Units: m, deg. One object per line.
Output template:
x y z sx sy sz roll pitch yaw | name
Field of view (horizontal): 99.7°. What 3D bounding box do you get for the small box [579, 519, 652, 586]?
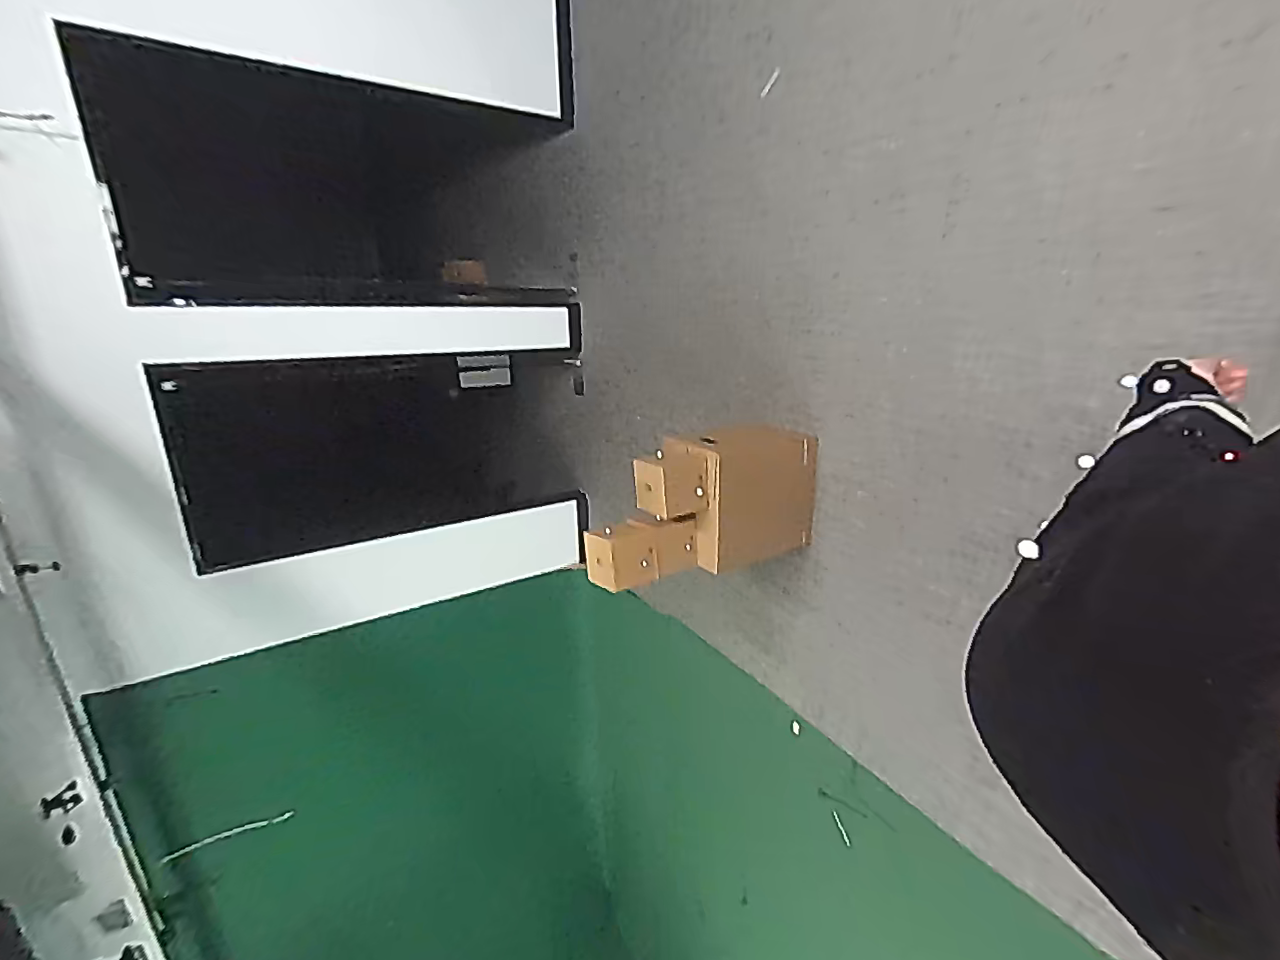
-0.080 0.224 1.740 0.179 0.176 0.168 8 105 55 | small box
